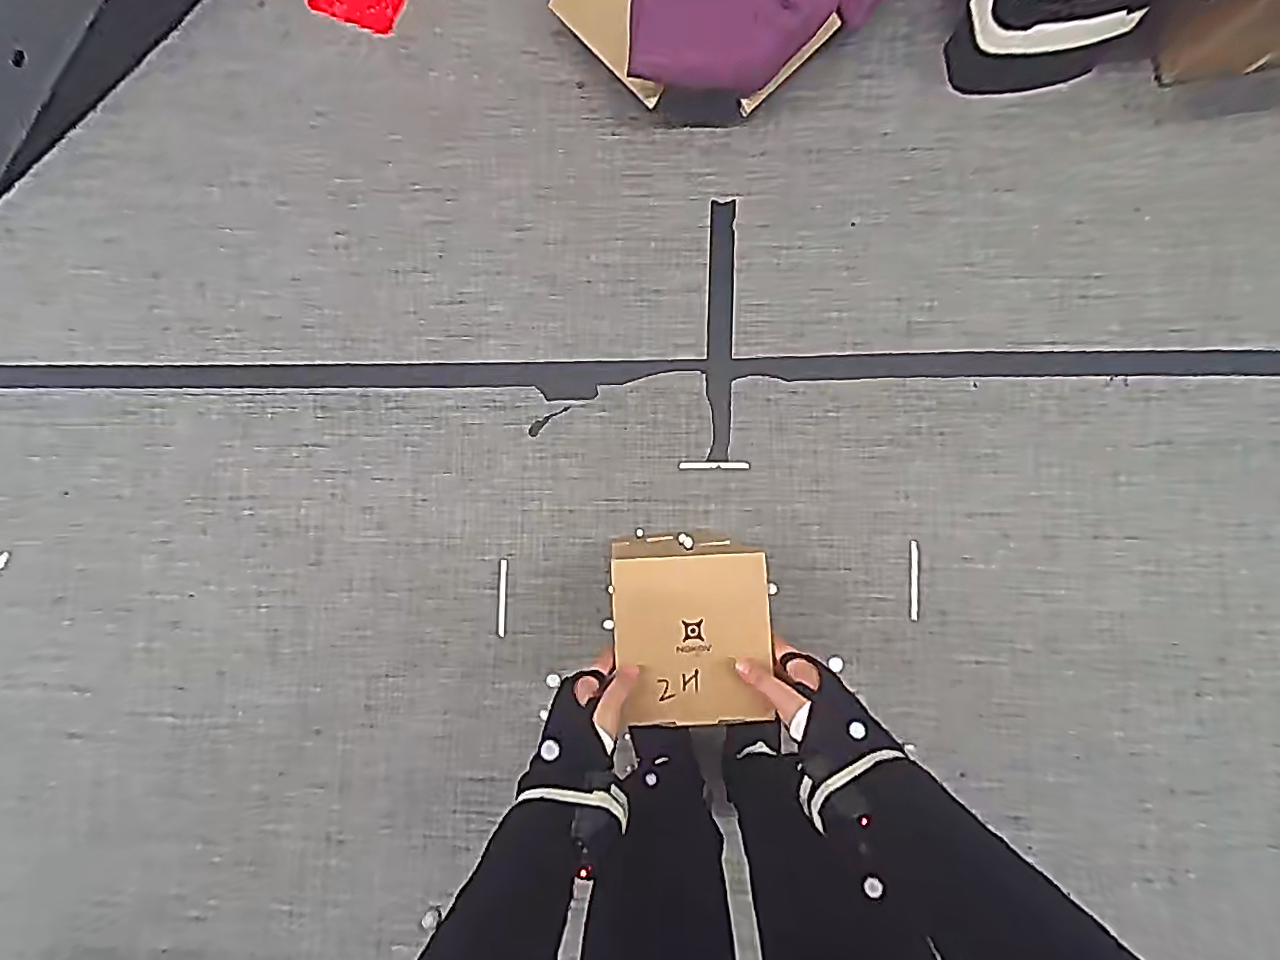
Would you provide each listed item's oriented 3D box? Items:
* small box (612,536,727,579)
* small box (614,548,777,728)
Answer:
[{"bbox_3d":[0.056,0.185,0.812,0.168,0.176,0.179,-7,87,3],"label":"small box"},{"bbox_3d":[0.058,0.172,0.642,0.168,0.176,0.179,-3,86,2],"label":"small box"}]
